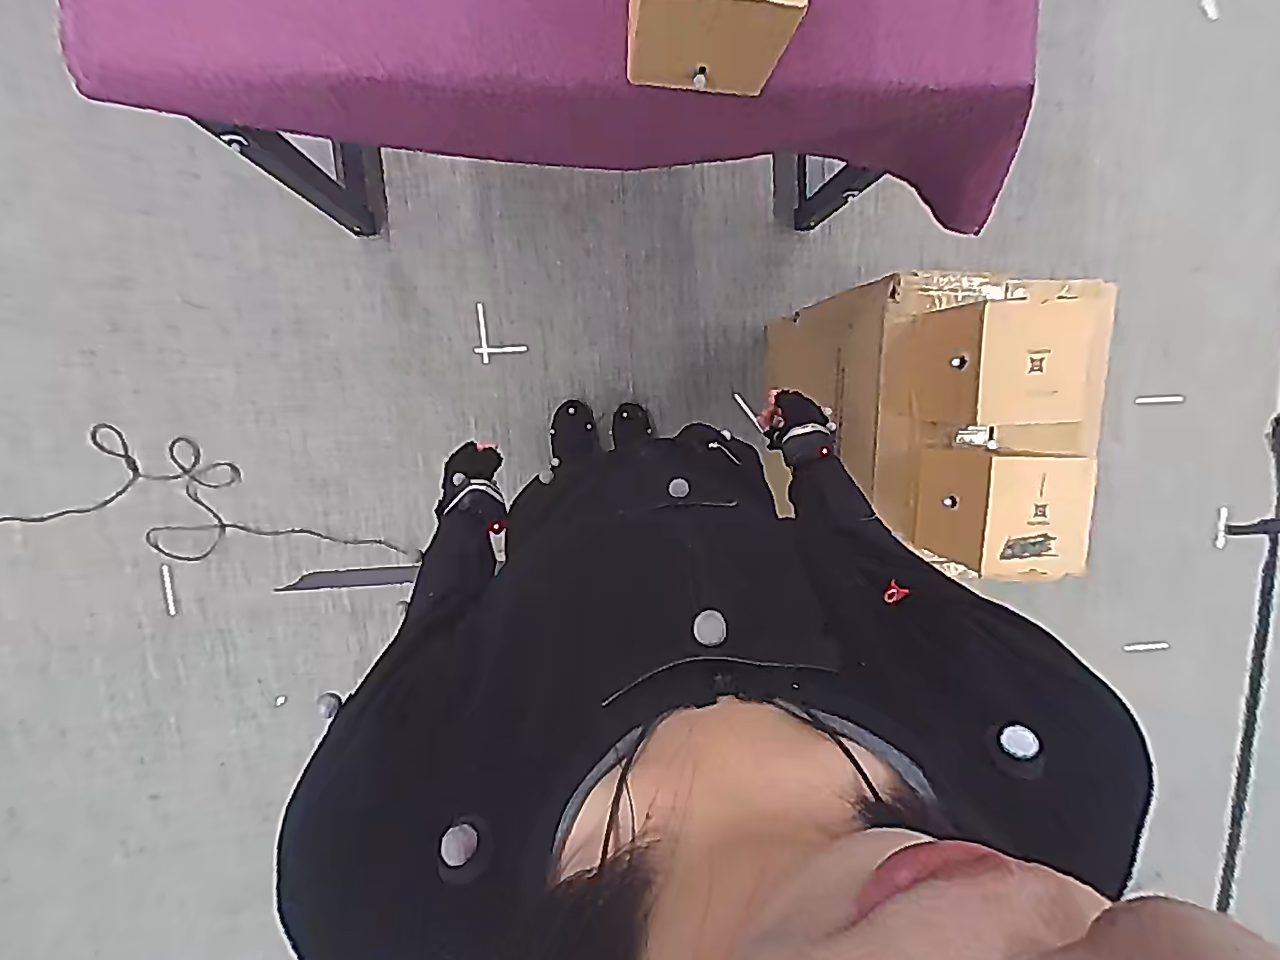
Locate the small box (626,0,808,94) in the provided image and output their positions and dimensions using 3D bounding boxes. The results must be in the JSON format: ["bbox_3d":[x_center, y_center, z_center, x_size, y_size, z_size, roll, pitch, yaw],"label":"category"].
[{"bbox_3d":[0.082,-0.579,0.619,0.179,0.176,0.168,1,97,-7],"label":"small box"}]

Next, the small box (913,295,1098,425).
[{"bbox_3d":[0.543,-0.177,0.827,0.168,0.176,0.179,-2,100,-4],"label":"small box"}]

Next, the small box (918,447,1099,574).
[{"bbox_3d":[0.569,0.042,0.859,0.168,0.176,0.179,1,96,-5],"label":"small box"}]
